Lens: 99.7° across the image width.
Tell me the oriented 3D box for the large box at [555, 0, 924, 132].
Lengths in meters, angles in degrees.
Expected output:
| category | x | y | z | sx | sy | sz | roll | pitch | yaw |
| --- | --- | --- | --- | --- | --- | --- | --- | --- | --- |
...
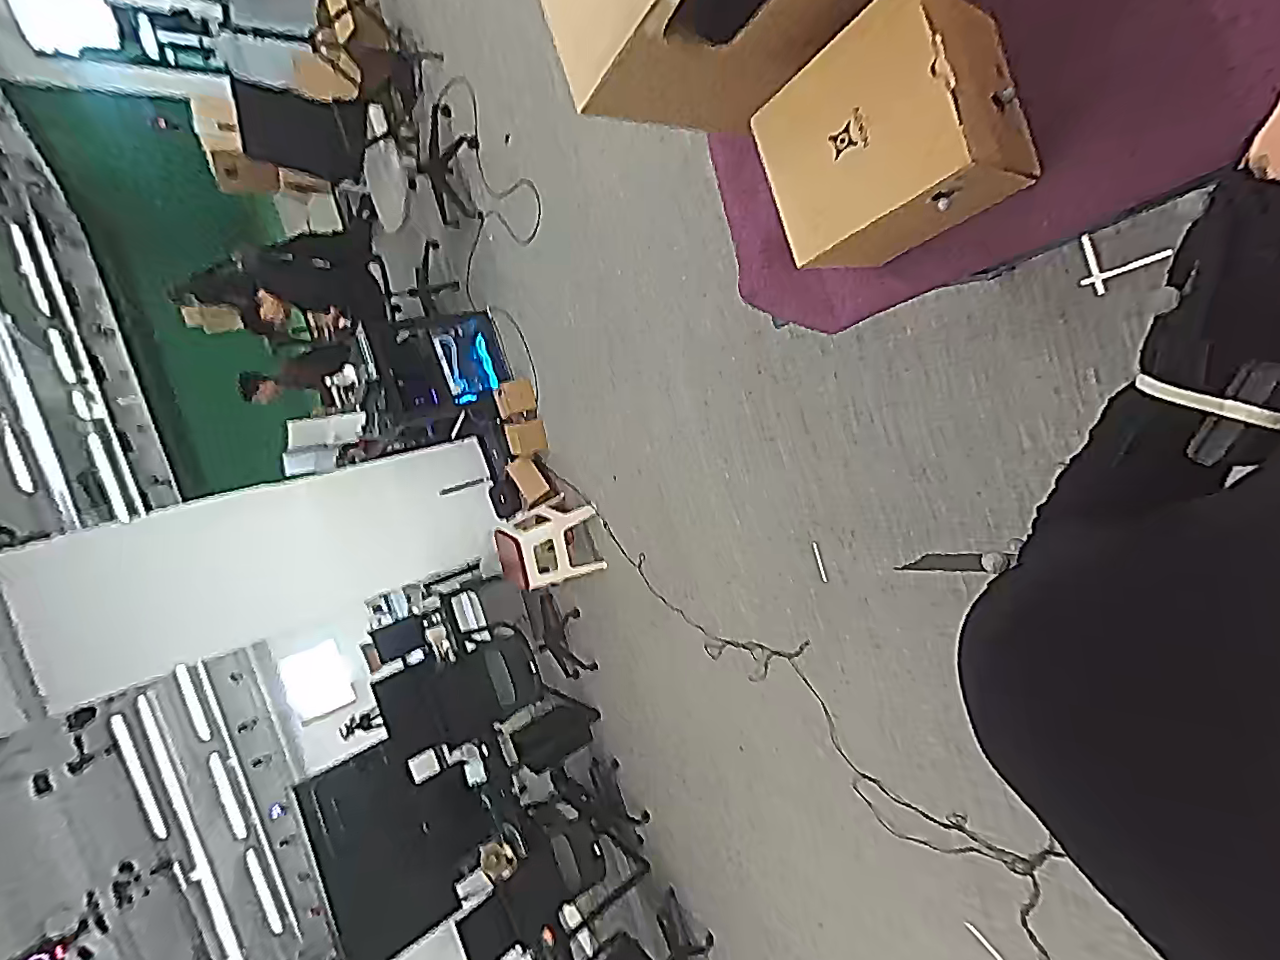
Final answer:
| category | x | y | z | sx | sy | sz | roll | pitch | yaw |
| --- | --- | --- | --- | --- | --- | --- | --- | --- | --- |
| large box | 0.084 | -0.631 | 0.518 | 0.320 | 0.320 | 0.408 | -15 | 96 | 55 |
